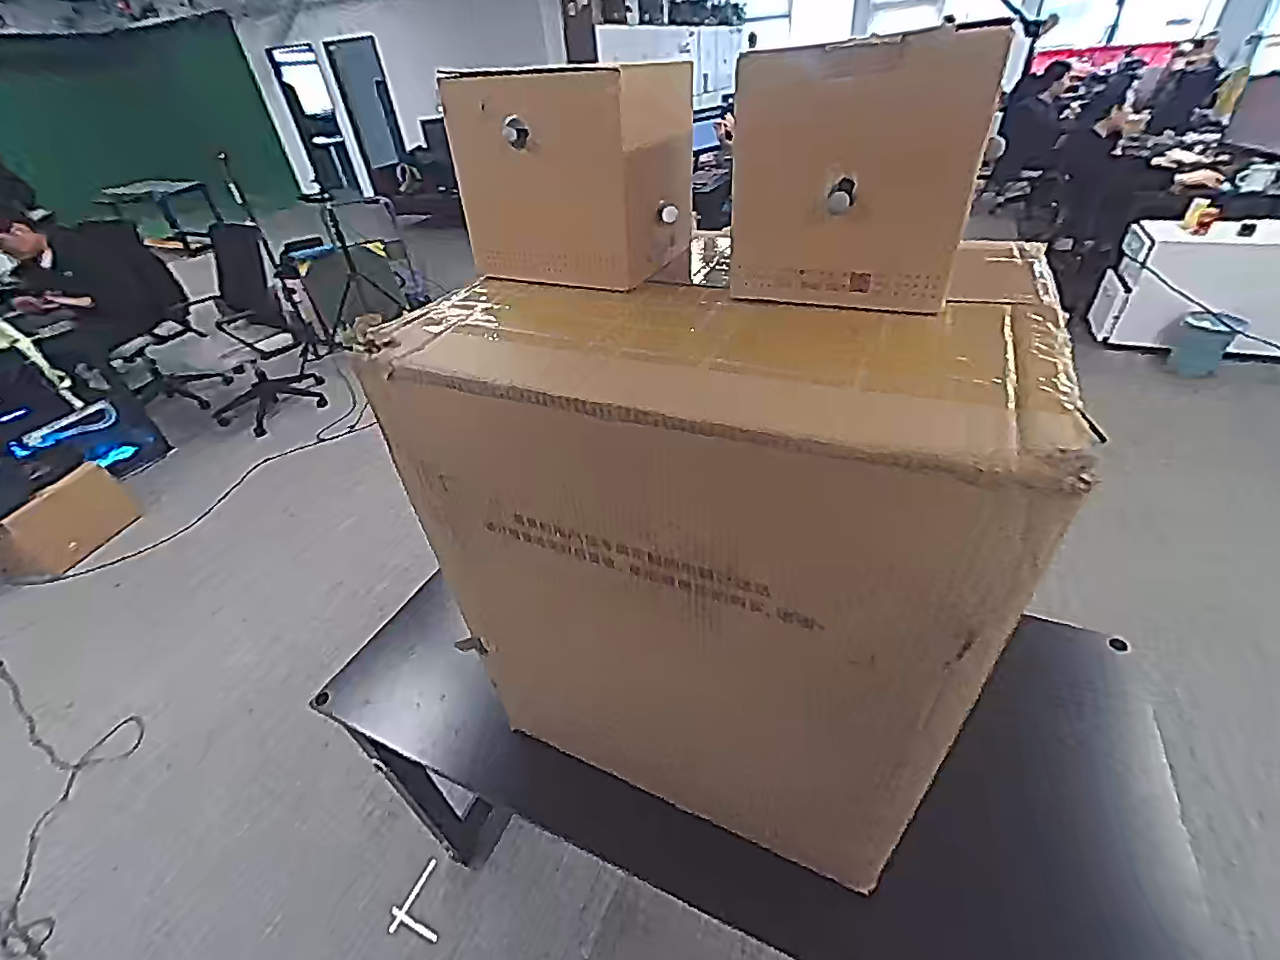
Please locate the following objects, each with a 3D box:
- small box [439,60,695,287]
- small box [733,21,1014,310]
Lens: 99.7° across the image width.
[{"bbox_3d":[-0.057,-0.298,0.528,0.179,0.176,0.168,14,41,21],"label":"small box"},{"bbox_3d":[0.180,-0.249,0.437,0.168,0.176,0.179,13,40,23],"label":"small box"}]
